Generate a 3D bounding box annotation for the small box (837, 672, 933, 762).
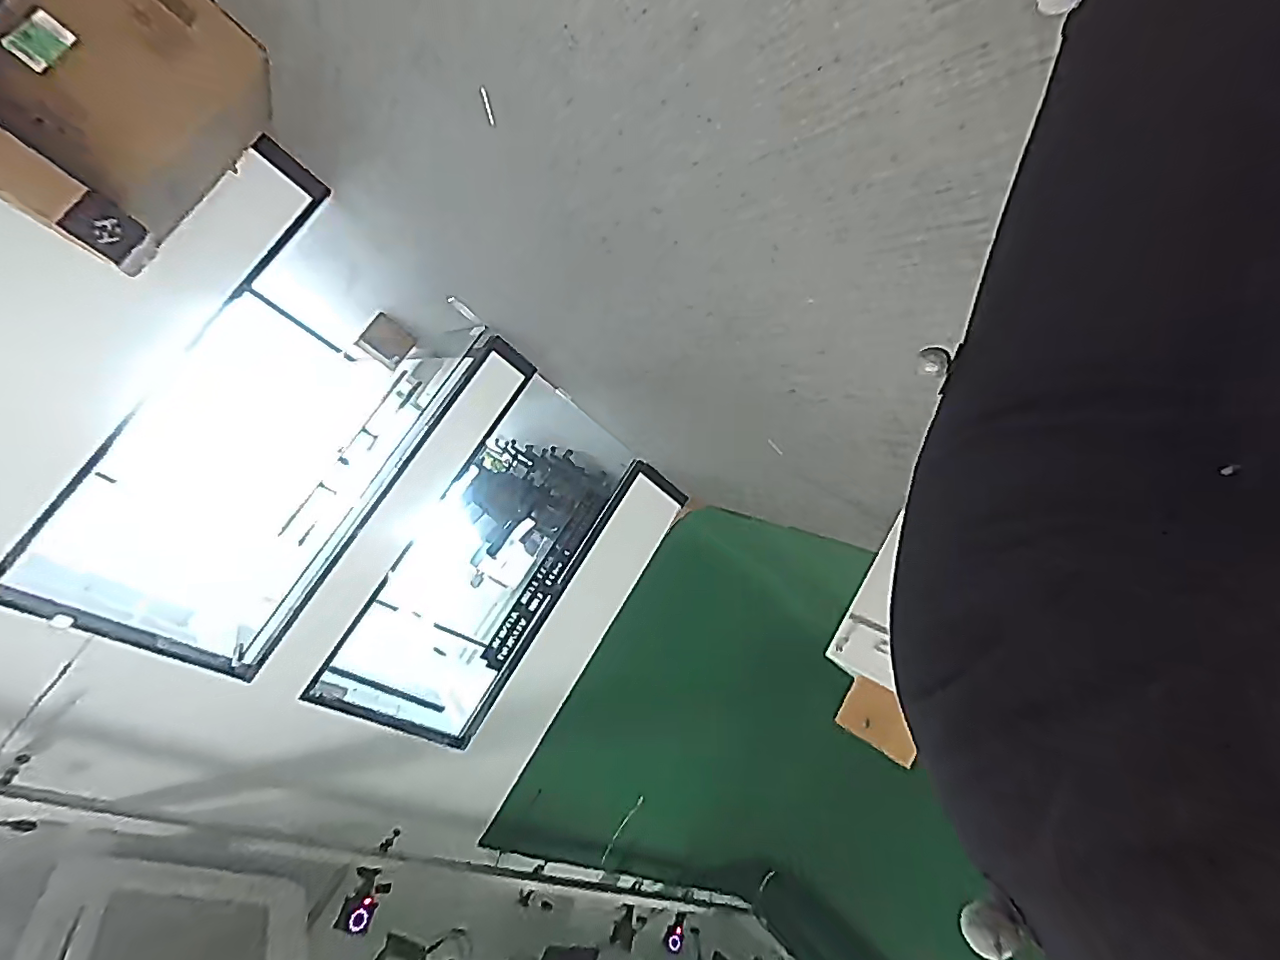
[{"bbox_3d":[0.739,0.704,1.630,0.168,0.176,0.179,38,168,-30],"label":"small box"}]
